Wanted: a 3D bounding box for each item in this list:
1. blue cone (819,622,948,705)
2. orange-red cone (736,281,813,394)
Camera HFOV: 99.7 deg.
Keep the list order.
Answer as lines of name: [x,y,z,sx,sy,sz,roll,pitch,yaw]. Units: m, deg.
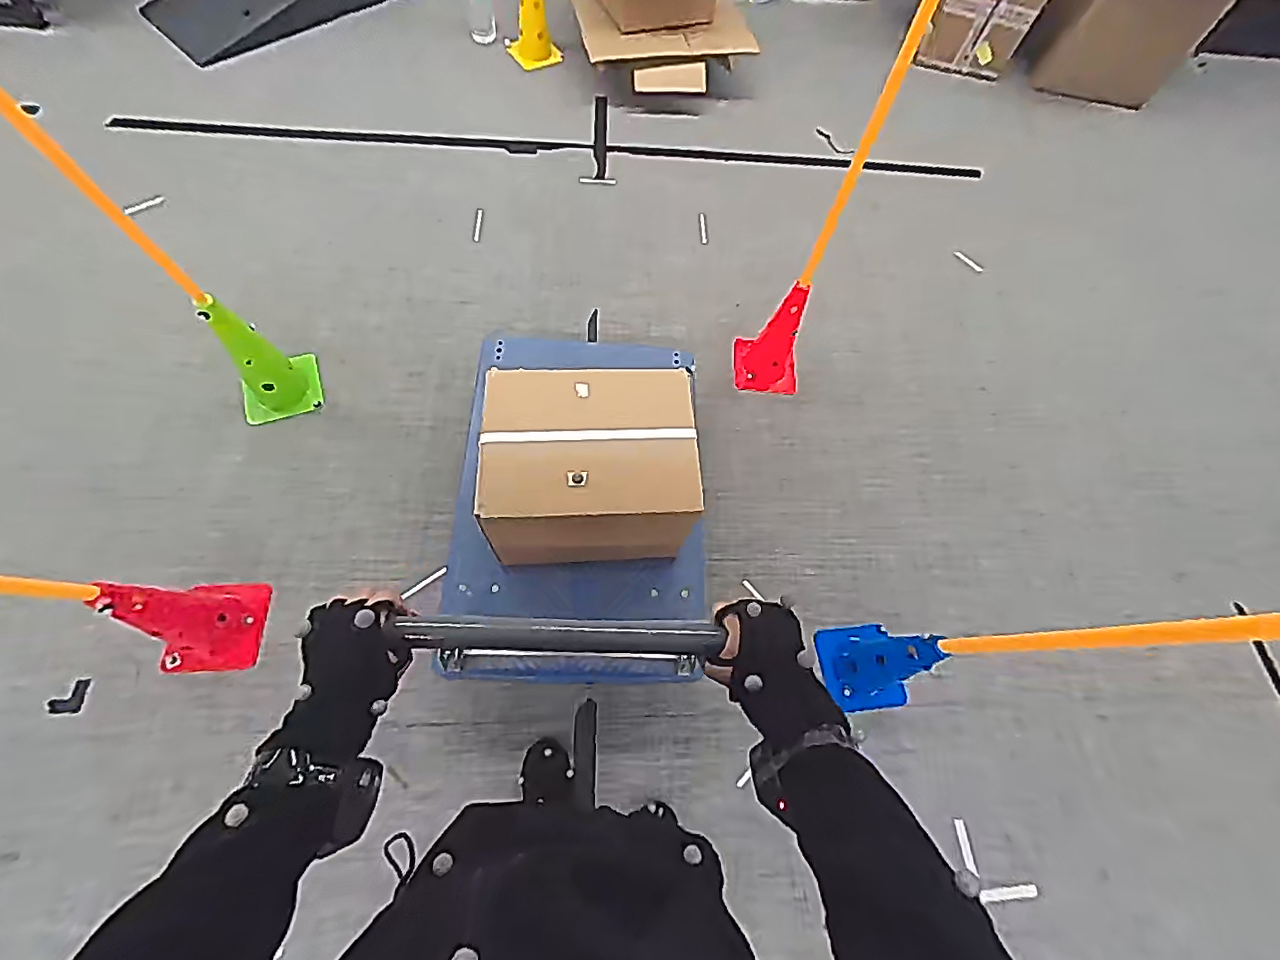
blue cone: [0.573,0.389,1.218,0.193,0.380,0.192,-3,64,-7]
orange-red cone: [0.422,-0.437,1.573,0.199,0.360,0.198,7,65,-3]
